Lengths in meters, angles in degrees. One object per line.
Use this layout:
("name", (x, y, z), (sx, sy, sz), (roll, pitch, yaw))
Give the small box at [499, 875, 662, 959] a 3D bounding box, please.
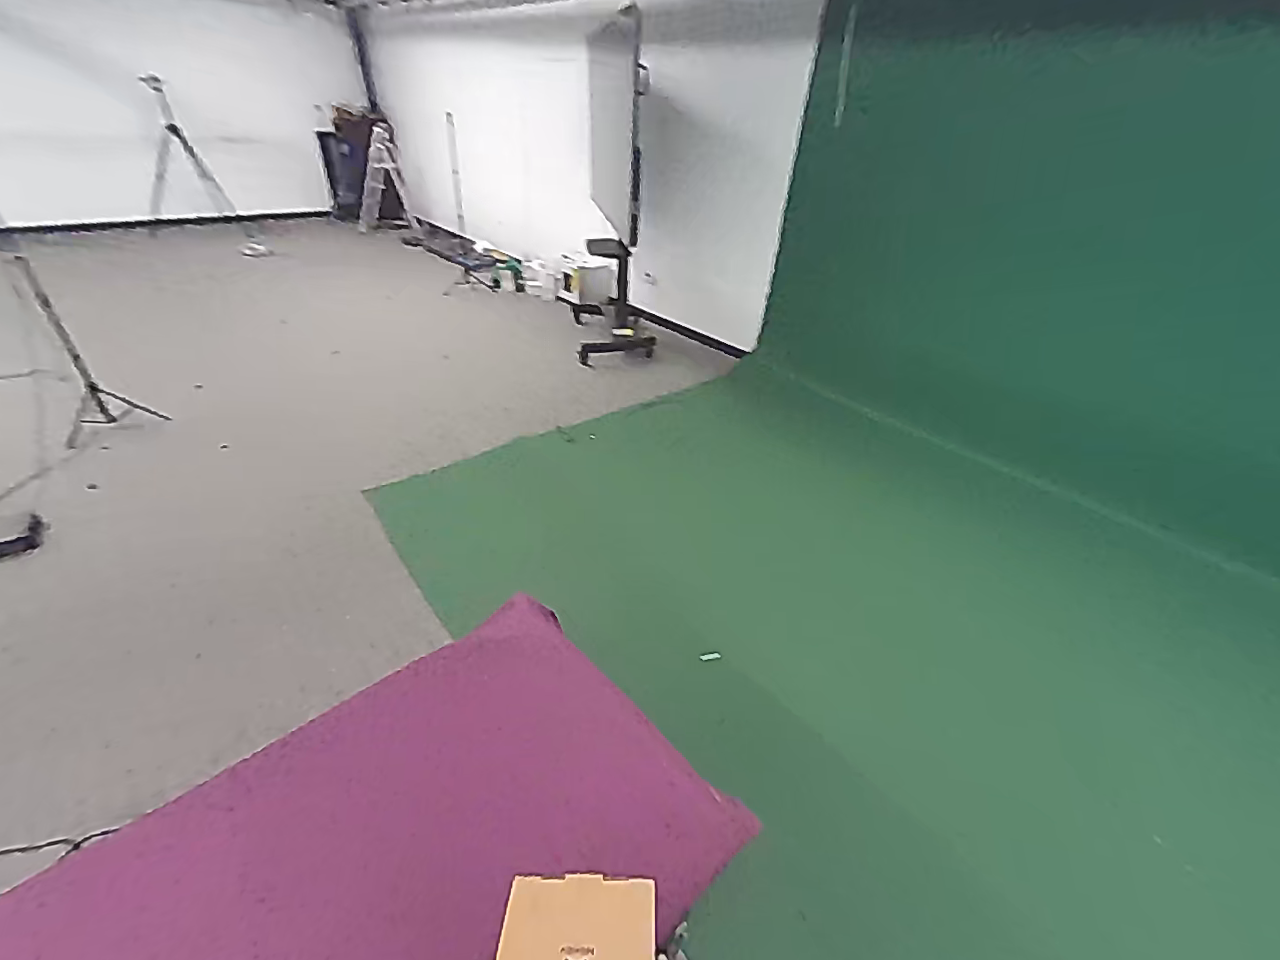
("small box", (-0.064, 0.565, 0.571), (0.168, 0.176, 0.179), (1, 23, 2))
